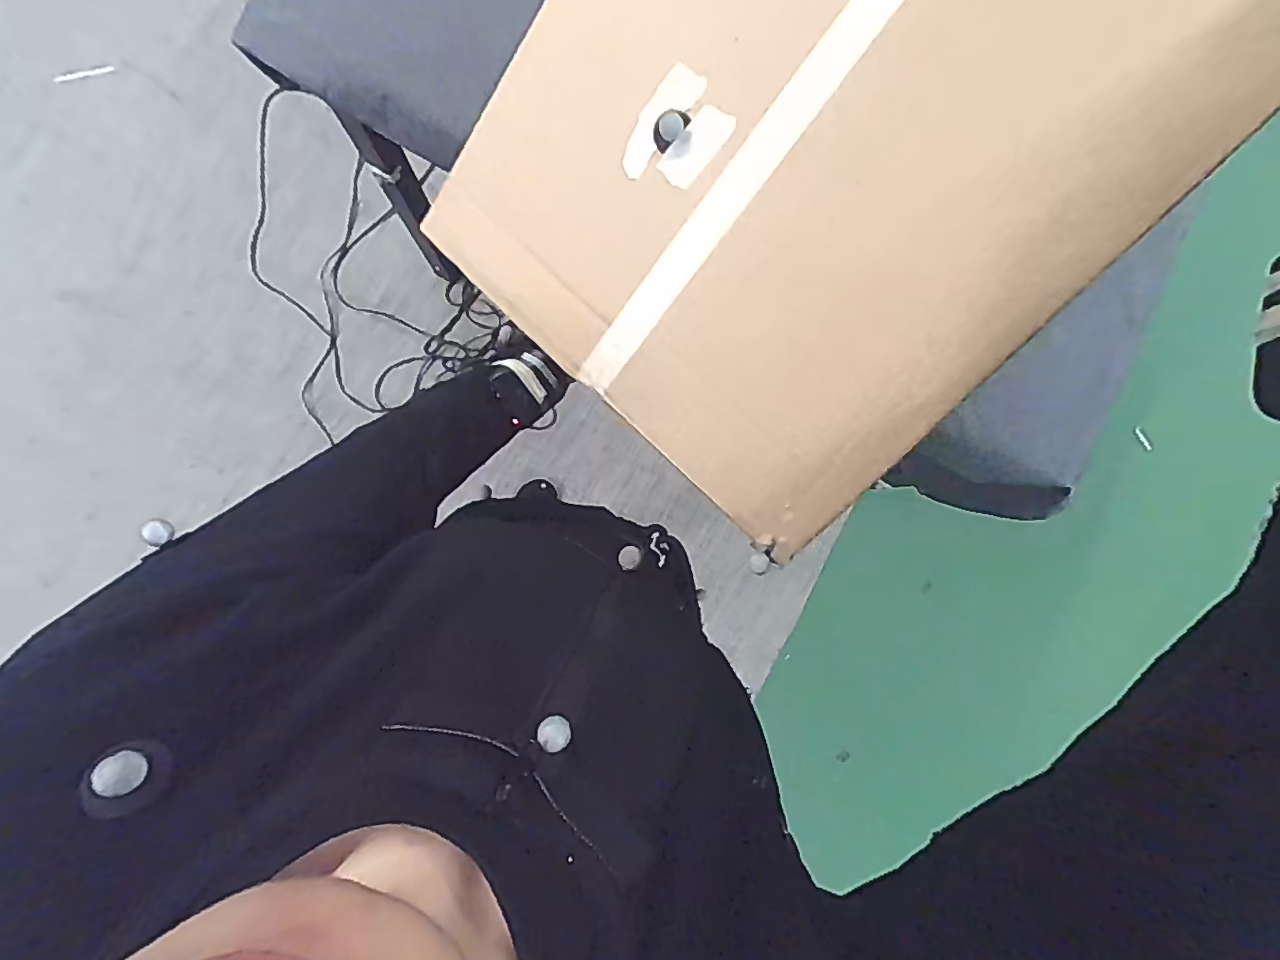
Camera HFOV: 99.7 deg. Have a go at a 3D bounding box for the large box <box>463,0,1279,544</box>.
[{"bbox_3d":[0.154,-0.232,0.414,0.320,0.320,0.408,43,111,7],"label":"large box"}]
